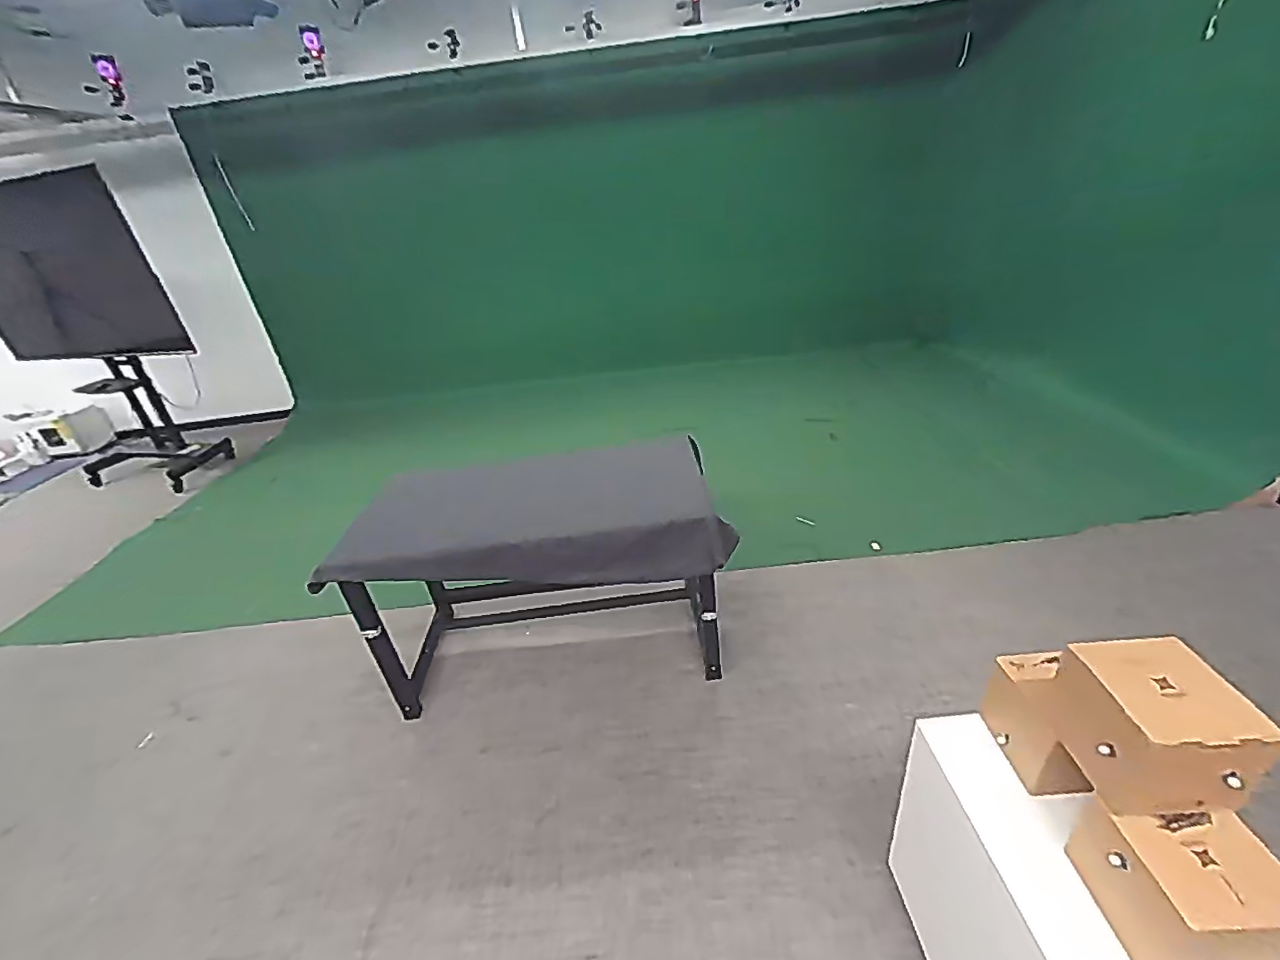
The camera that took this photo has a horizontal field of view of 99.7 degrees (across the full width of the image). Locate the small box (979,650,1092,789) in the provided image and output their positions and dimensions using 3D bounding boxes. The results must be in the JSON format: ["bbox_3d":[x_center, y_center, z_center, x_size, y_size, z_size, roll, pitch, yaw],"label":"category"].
[{"bbox_3d":[0.761,0.439,0.989,0.168,0.176,0.179,-6,31,2],"label":"small box"}]

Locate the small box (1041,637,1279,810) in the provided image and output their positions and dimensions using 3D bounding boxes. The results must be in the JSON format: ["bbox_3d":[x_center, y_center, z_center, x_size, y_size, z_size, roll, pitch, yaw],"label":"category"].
[{"bbox_3d":[0.746,0.361,0.800,0.168,0.176,0.179,-5,28,3],"label":"small box"}]

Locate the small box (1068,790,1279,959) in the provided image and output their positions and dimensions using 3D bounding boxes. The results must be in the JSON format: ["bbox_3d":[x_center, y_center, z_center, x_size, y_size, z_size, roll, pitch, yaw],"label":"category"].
[{"bbox_3d":[0.757,0.567,0.762,0.168,0.176,0.179,-6,30,4],"label":"small box"}]
